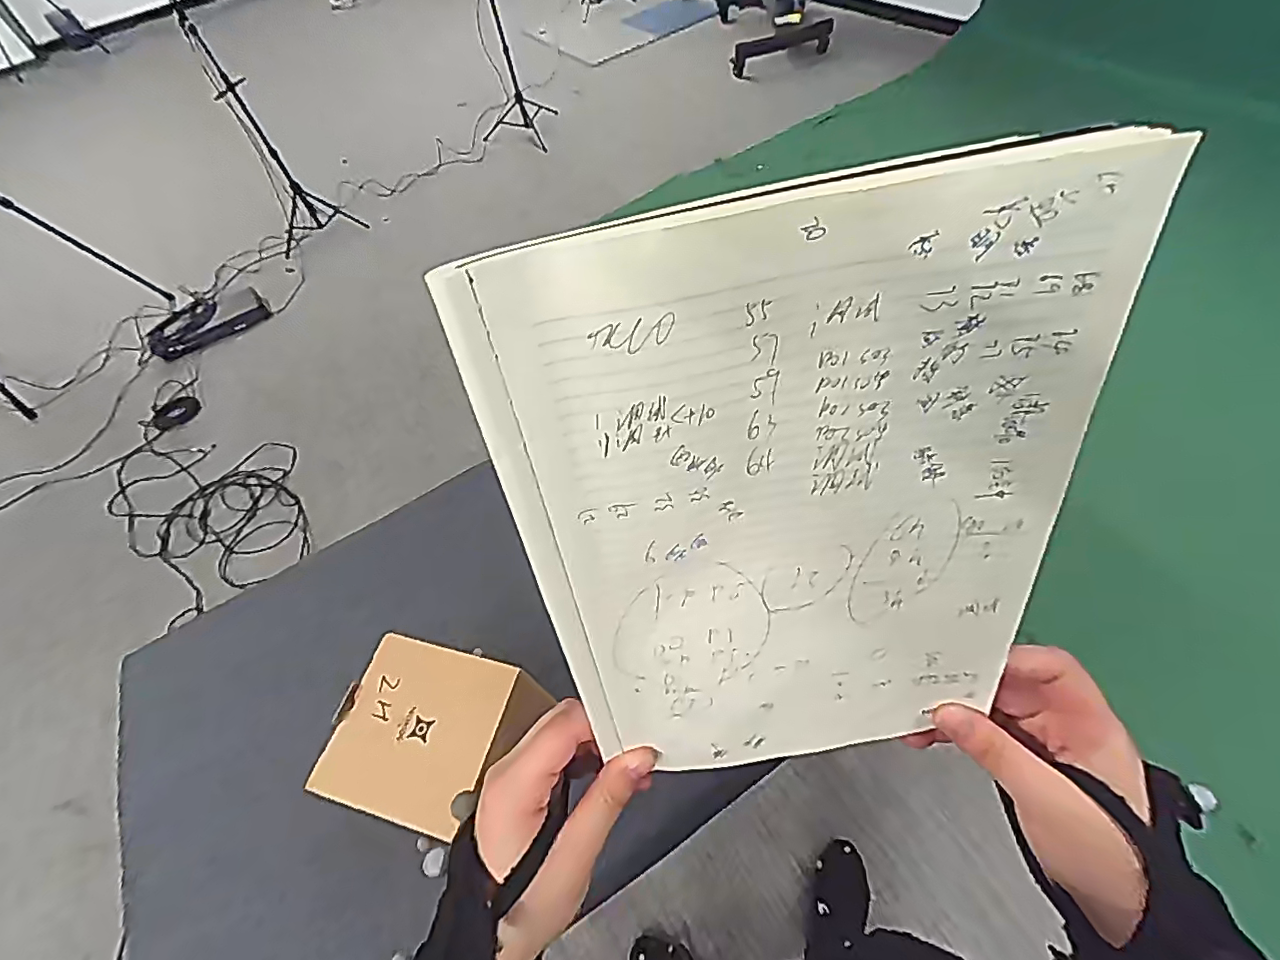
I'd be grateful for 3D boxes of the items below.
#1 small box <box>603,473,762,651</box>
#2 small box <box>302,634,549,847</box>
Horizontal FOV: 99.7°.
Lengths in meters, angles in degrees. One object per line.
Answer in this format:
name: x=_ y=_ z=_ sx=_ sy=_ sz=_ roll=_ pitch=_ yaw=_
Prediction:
small box: x=0.053 y=0.113 z=0.707 sx=0.179 sy=0.176 sz=0.168 roll=-8 pitch=55 yaw=4
small box: x=-0.224 y=0.299 z=0.622 sx=0.179 sy=0.176 sz=0.168 roll=9 pitch=57 yaw=15
